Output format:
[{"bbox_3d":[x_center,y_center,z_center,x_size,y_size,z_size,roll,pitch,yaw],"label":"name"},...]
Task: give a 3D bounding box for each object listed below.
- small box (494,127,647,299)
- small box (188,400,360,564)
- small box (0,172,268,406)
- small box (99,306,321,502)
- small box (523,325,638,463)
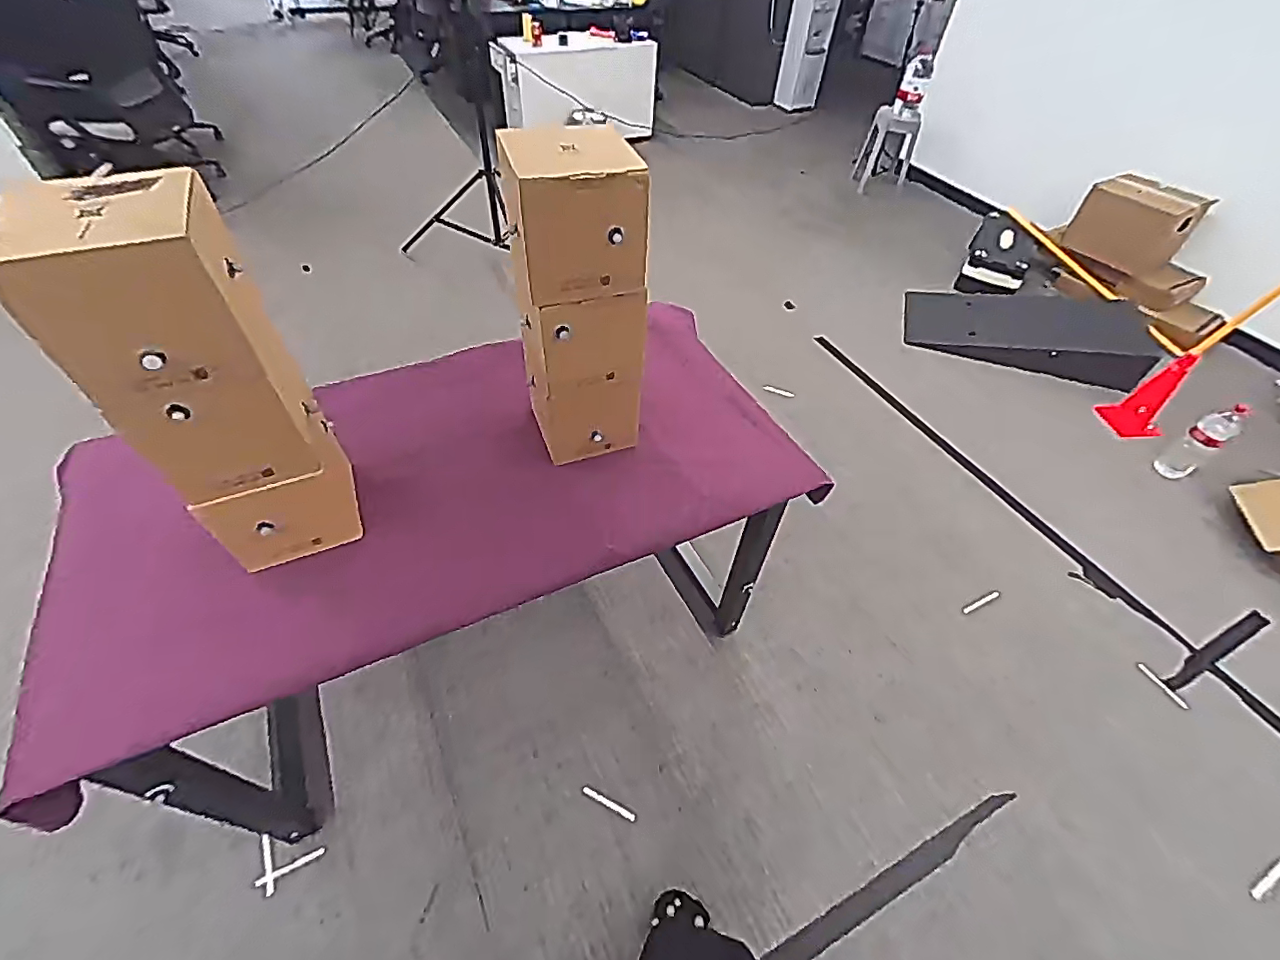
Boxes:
[{"bbox_3d":[-0.097,-0.367,0.756,0.168,0.176,0.179,-13,50,-15],"label":"small box"},{"bbox_3d":[-0.554,0.009,0.837,0.168,0.176,0.179,-19,53,-18],"label":"small box"},{"bbox_3d":[-0.536,-0.210,0.591,0.168,0.176,0.179,-18,53,-18],"label":"small box"},{"bbox_3d":[-0.549,-0.102,0.716,0.168,0.176,0.179,-20,52,-18],"label":"small box"},{"bbox_3d":[-0.112,-0.160,1.008,0.168,0.176,0.179,-15,52,-15],"label":"small box"}]
